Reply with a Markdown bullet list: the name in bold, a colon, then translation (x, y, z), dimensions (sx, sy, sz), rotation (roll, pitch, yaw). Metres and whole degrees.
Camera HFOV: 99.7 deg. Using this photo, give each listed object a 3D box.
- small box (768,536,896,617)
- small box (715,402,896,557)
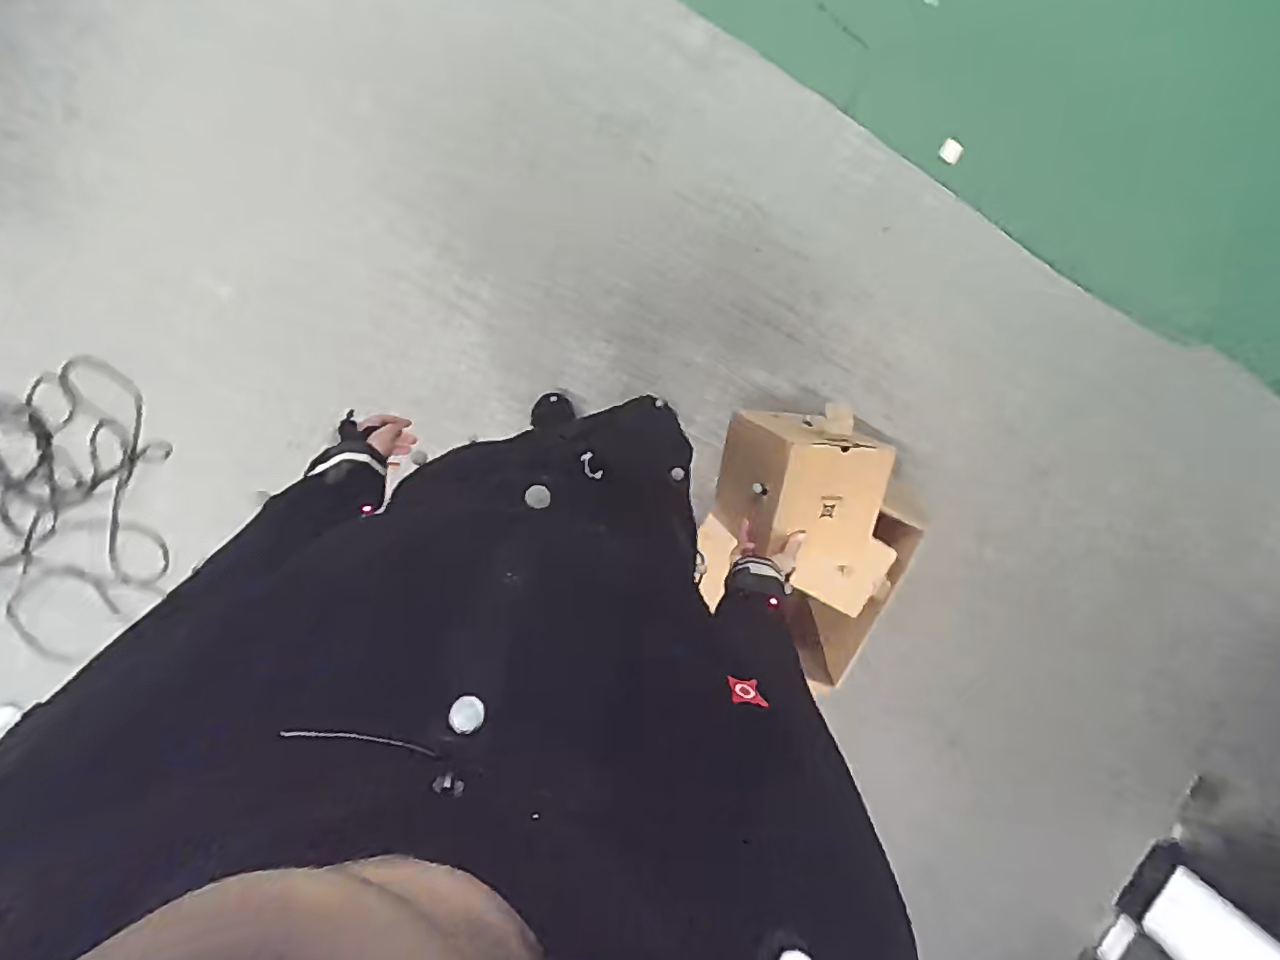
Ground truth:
- **small box**: translation (0.409, 0.164, 1.185), dimensions (0.179, 0.176, 0.168), rotation (29, 98, -10)
- **small box**: translation (0.224, -0.005, 0.779), dimensions (0.168, 0.176, 0.179), rotation (1, 109, -20)
